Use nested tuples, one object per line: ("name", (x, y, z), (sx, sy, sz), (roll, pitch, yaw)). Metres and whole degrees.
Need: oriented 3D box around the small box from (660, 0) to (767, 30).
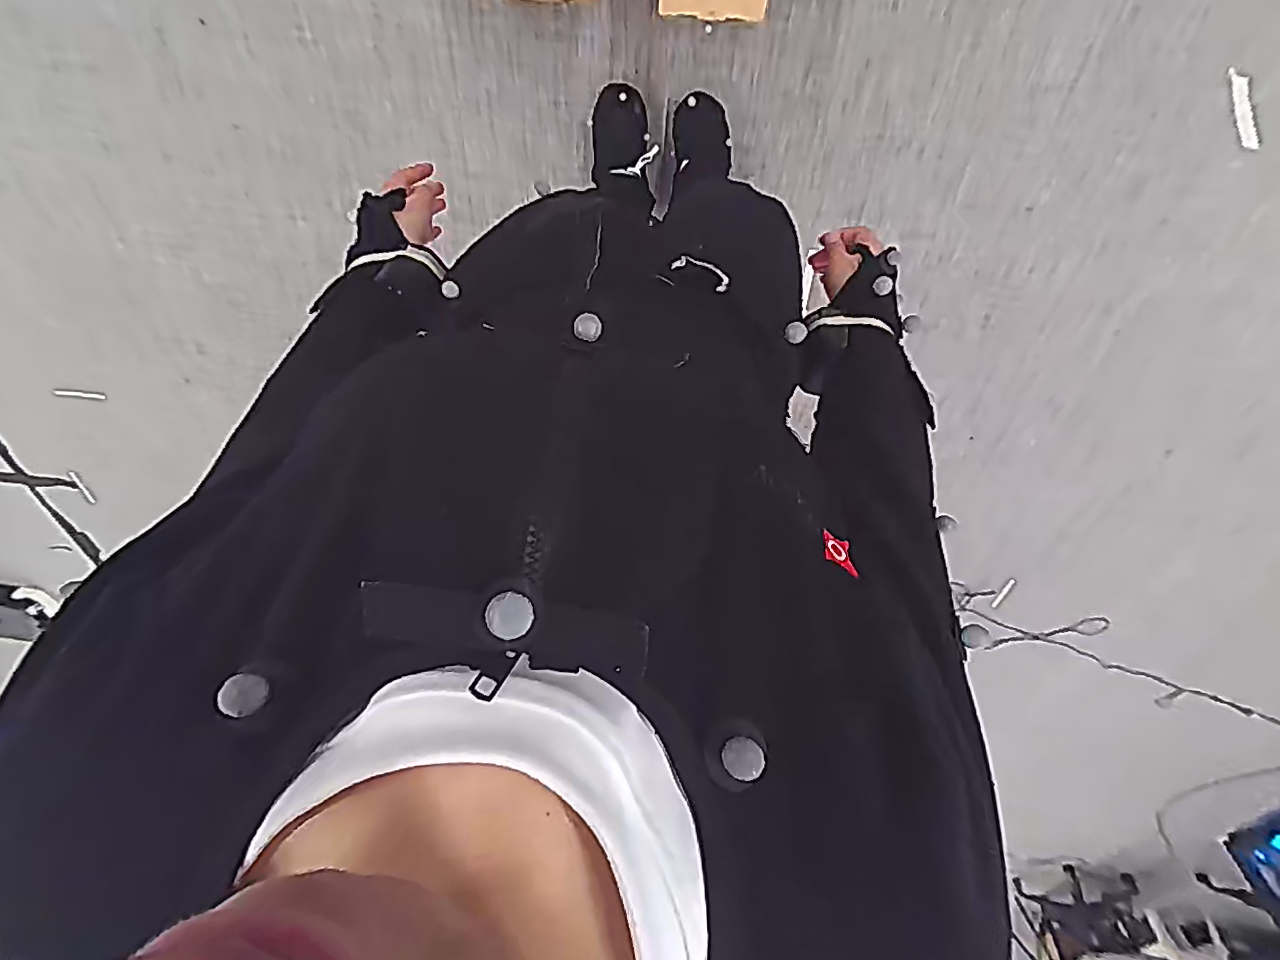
("small box", (0.122, -0.830, 0.851), (0.168, 0.176, 0.179), (6, 129, 2))
